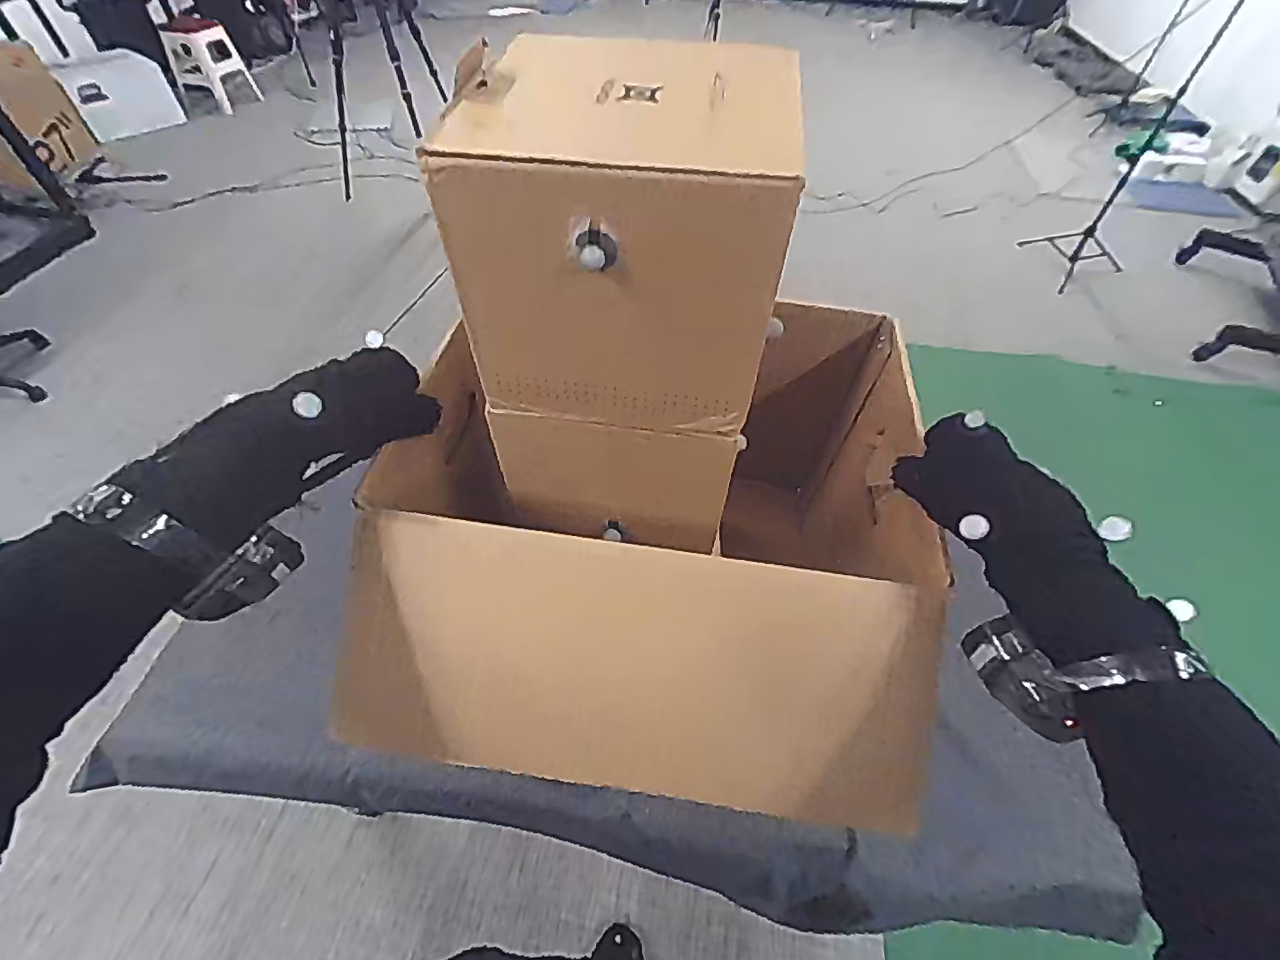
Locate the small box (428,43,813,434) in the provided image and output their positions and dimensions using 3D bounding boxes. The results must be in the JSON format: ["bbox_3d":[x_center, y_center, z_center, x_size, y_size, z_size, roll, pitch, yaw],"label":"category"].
[{"bbox_3d":[-0.002,-0.148,0.348,0.179,0.176,0.168,7,55,3],"label":"small box"}]
